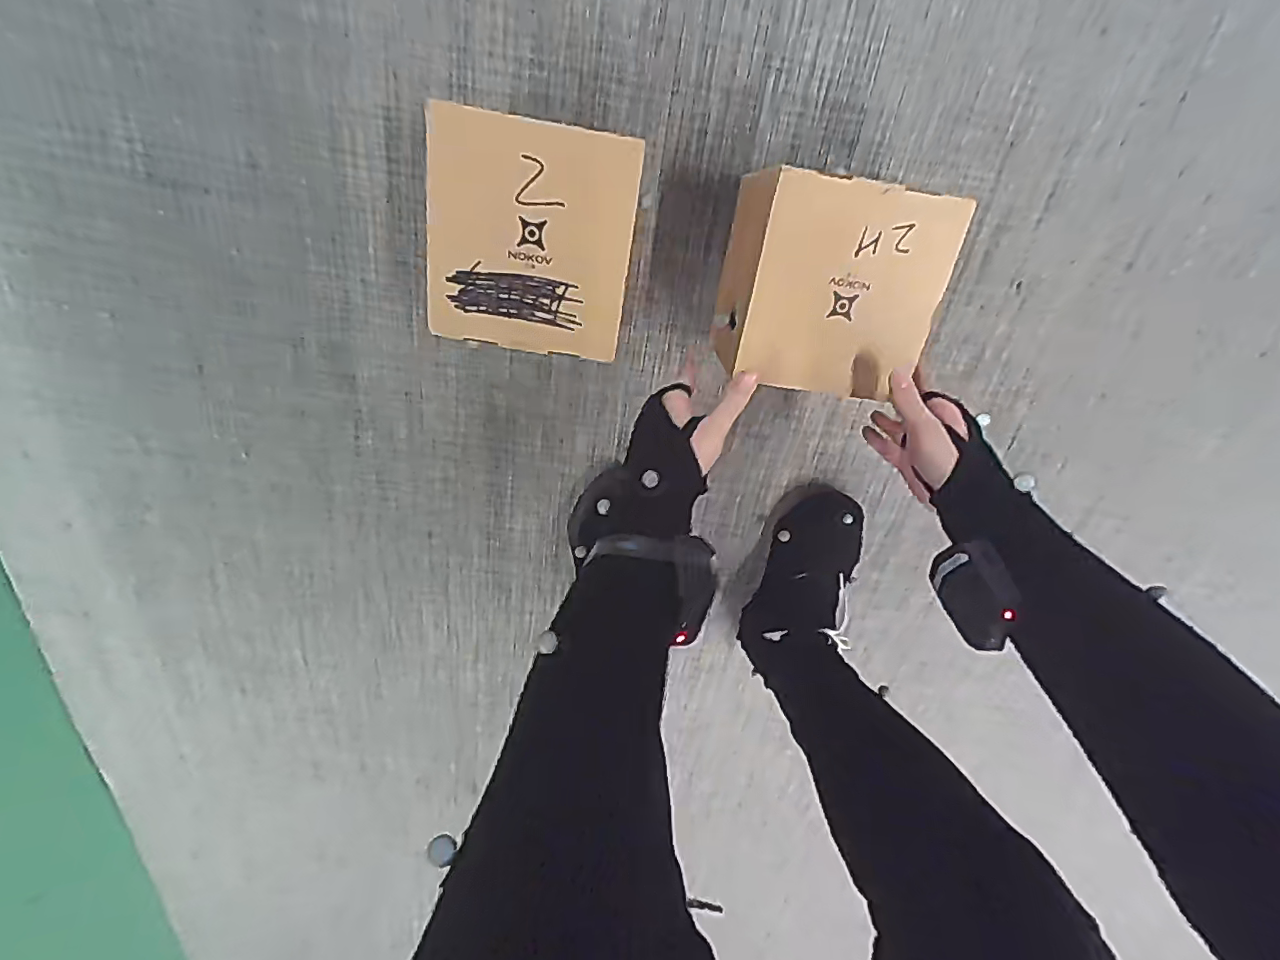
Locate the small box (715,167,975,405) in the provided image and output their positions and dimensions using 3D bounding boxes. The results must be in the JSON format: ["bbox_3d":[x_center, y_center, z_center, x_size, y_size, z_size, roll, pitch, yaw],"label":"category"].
[{"bbox_3d":[0.178,-0.193,0.539,0.168,0.176,0.179,7,115,-5],"label":"small box"}]
